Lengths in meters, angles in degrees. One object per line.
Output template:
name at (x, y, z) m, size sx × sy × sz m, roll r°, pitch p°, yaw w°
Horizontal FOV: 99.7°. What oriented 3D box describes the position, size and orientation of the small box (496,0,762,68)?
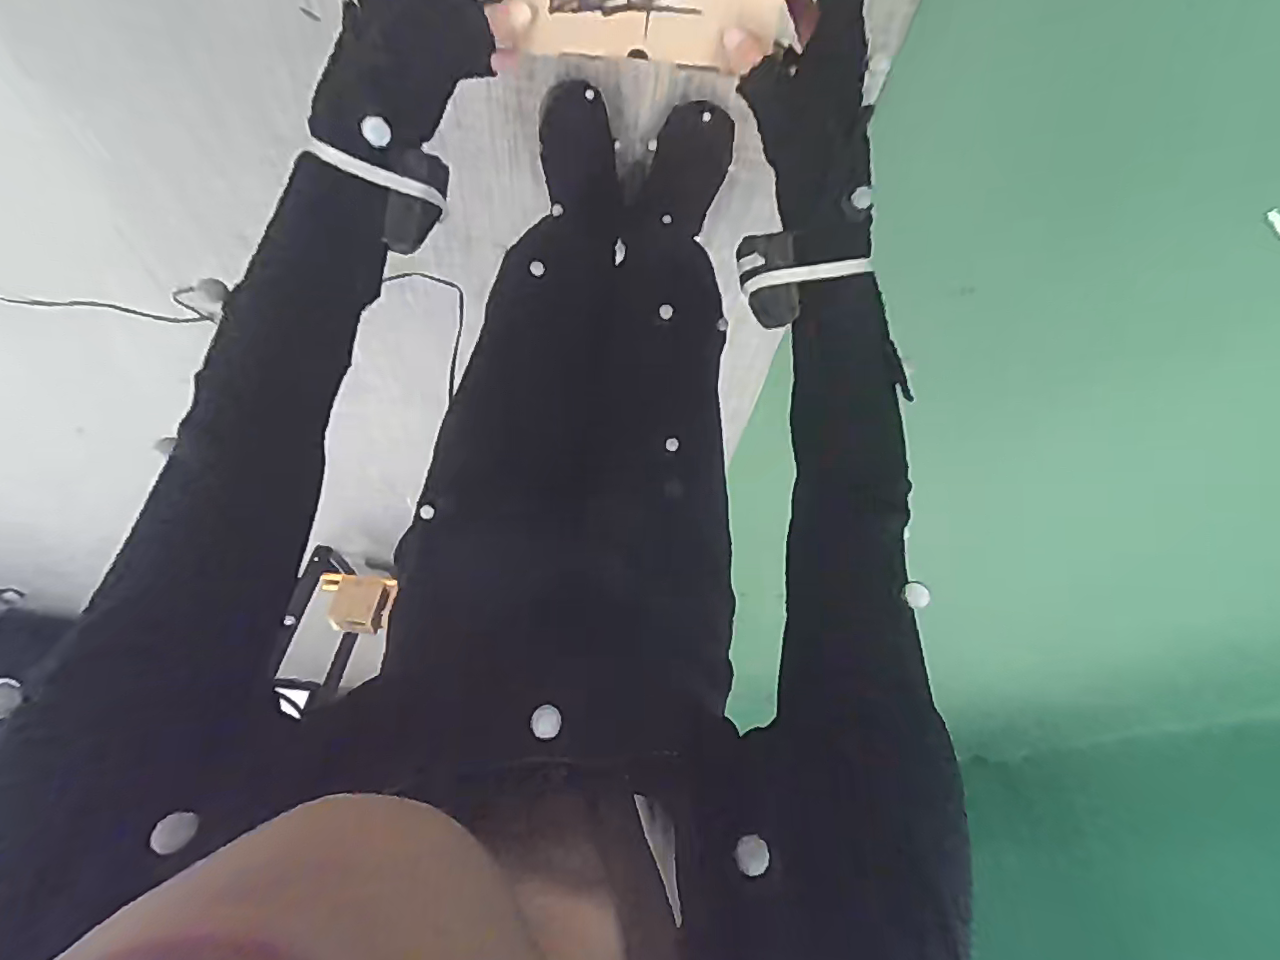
small box at (0.006, -0.384, 0.313) m, size 0.168 × 0.176 × 0.179 m, roll 8°, pitch 148°, yaw 3°
